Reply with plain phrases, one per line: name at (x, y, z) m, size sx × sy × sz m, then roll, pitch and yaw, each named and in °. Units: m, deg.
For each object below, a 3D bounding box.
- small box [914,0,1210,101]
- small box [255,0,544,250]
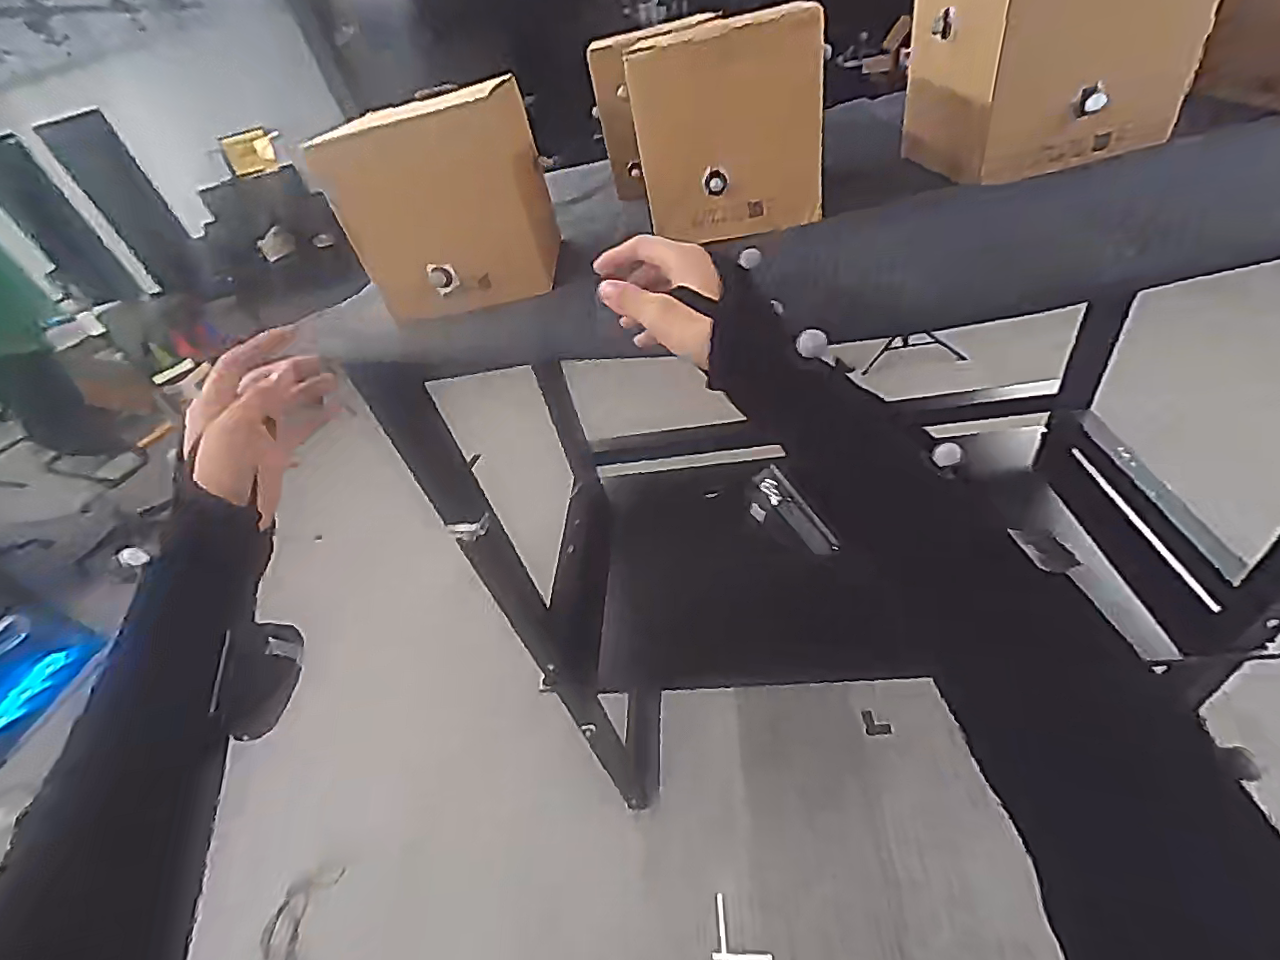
small box at (0.361, -0.451, 0.470) m, size 0.168 × 0.176 × 0.179 m, roll -11°, pitch 41°, yaw 6°
small box at (-0.197, -0.338, 0.508) m, size 0.168 × 0.176 × 0.179 m, roll -11°, pitch 41°, yaw 5°
